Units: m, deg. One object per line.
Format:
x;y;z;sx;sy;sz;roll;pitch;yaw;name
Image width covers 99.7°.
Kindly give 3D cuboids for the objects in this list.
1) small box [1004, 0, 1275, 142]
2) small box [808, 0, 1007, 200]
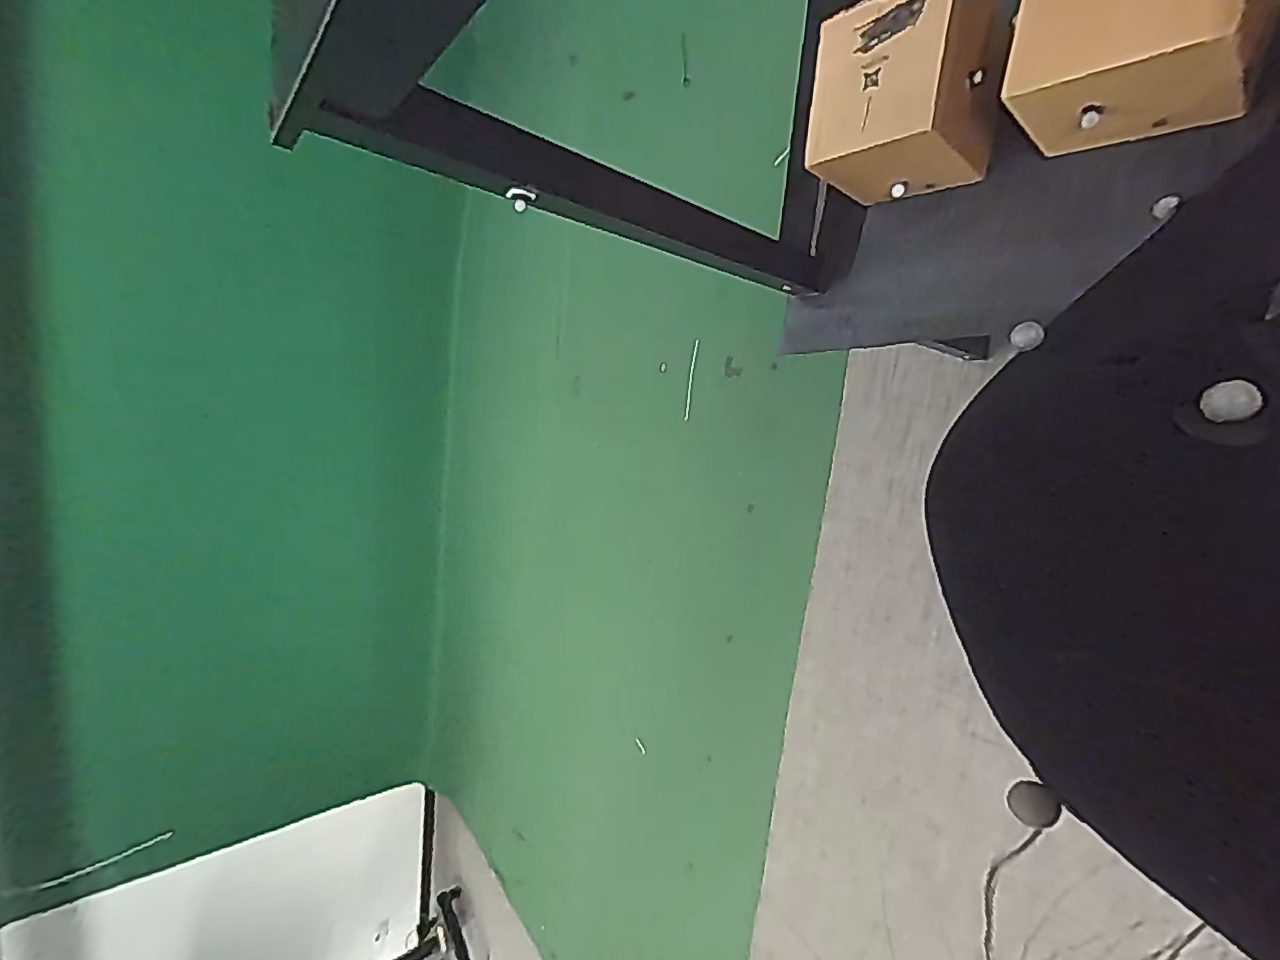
0.491;-0.460;0.525;0.168;0.176;0.179;17;103;48;small box
0.345;-0.492;0.696;0.168;0.176;0.179;15;103;49;small box
